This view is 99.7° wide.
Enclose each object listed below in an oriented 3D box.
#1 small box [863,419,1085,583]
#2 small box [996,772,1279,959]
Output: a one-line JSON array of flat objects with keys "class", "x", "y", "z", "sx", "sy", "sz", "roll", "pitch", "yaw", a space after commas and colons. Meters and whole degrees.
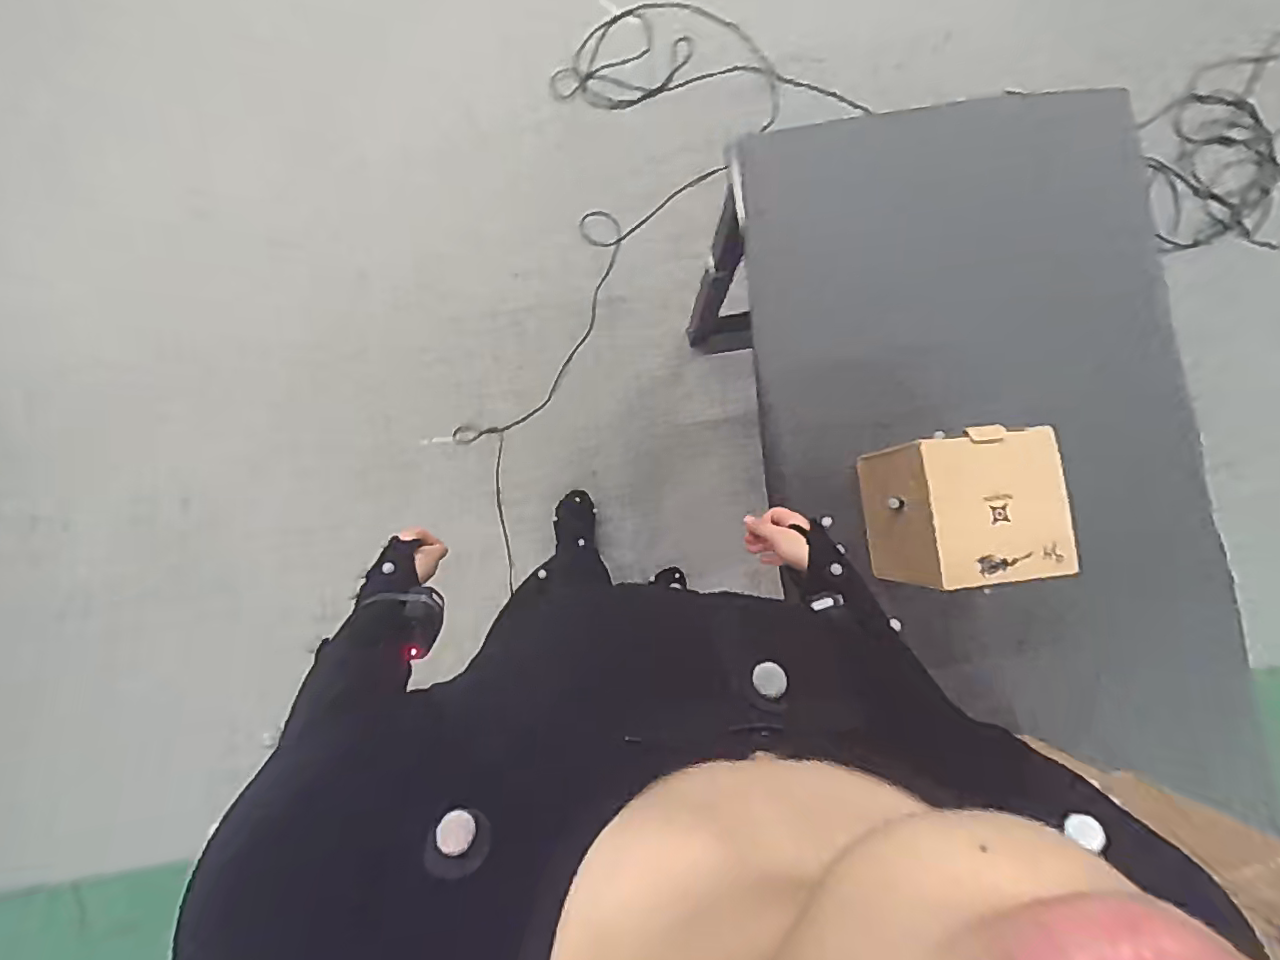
[{"class": "small box", "x": 0.406, "y": 0.032, "z": 0.690, "sx": 0.168, "sy": 0.176, "sz": 0.179, "roll": -6, "pitch": 84, "yaw": -3}, {"class": "small box", "x": 0.471, "y": 0.402, "z": 0.490, "sx": 0.168, "sy": 0.176, "sz": 0.179, "roll": -10, "pitch": 83, "yaw": -6}]
